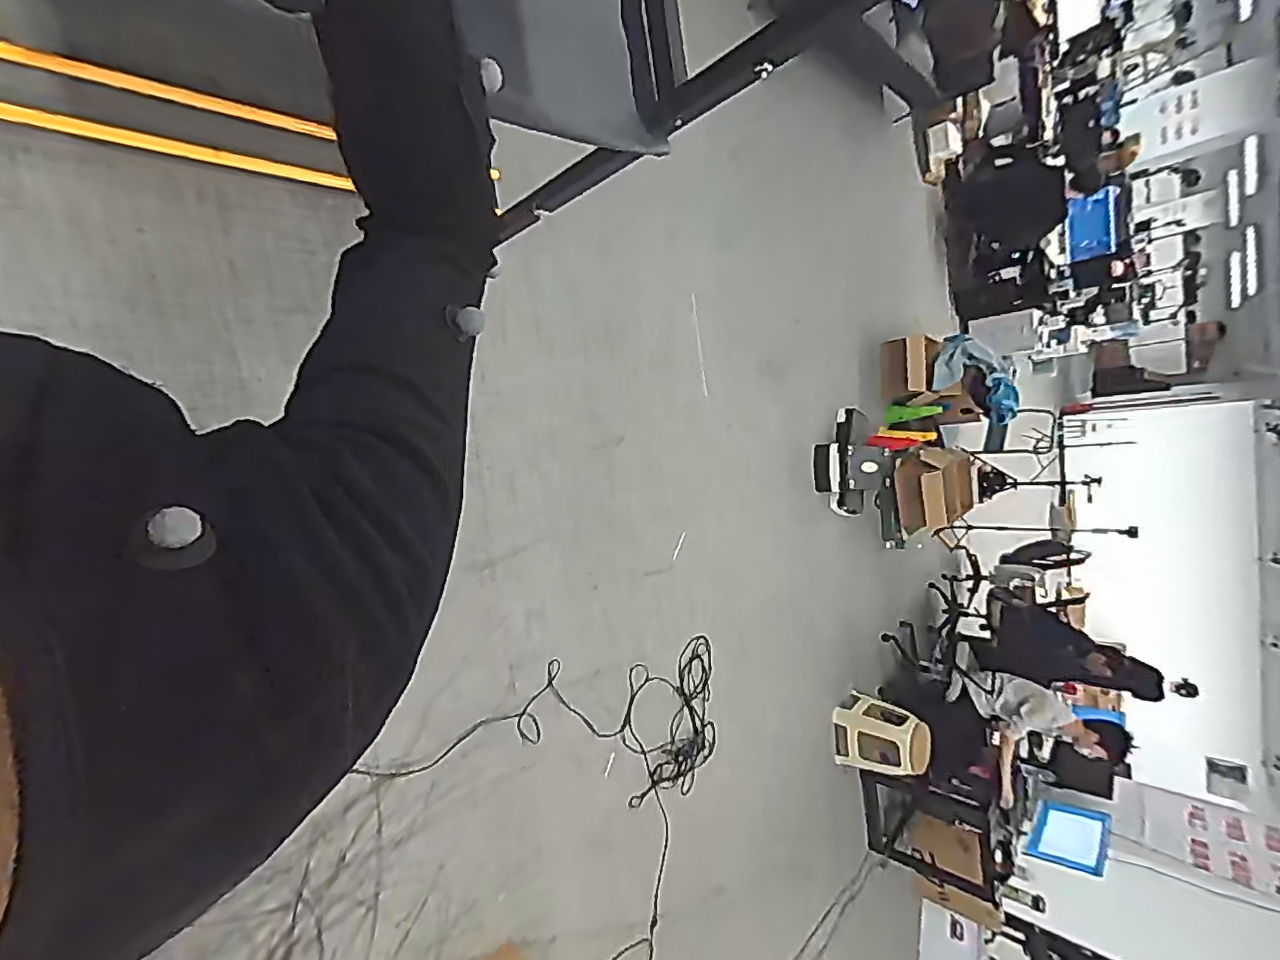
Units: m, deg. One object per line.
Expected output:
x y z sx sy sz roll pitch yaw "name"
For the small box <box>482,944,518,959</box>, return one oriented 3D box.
-0.407 1.515 1.560 0.168 0.176 0.179 -13 97 -46 "small box"
